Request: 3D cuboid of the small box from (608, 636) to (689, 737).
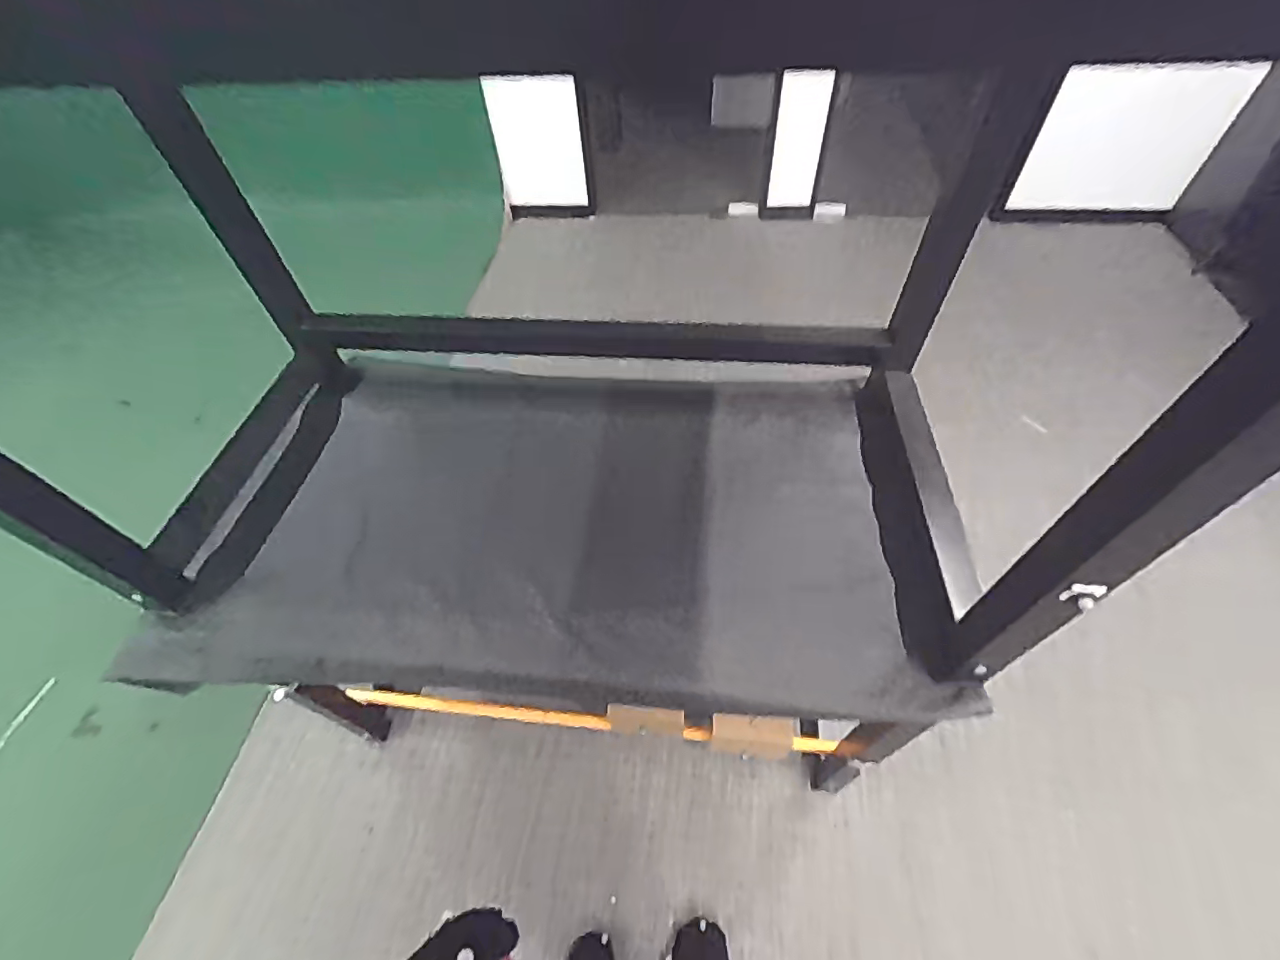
[{"bbox_3d":[0.027,0.480,1.248,0.168,0.176,0.179,3,53,6],"label":"small box"}]
